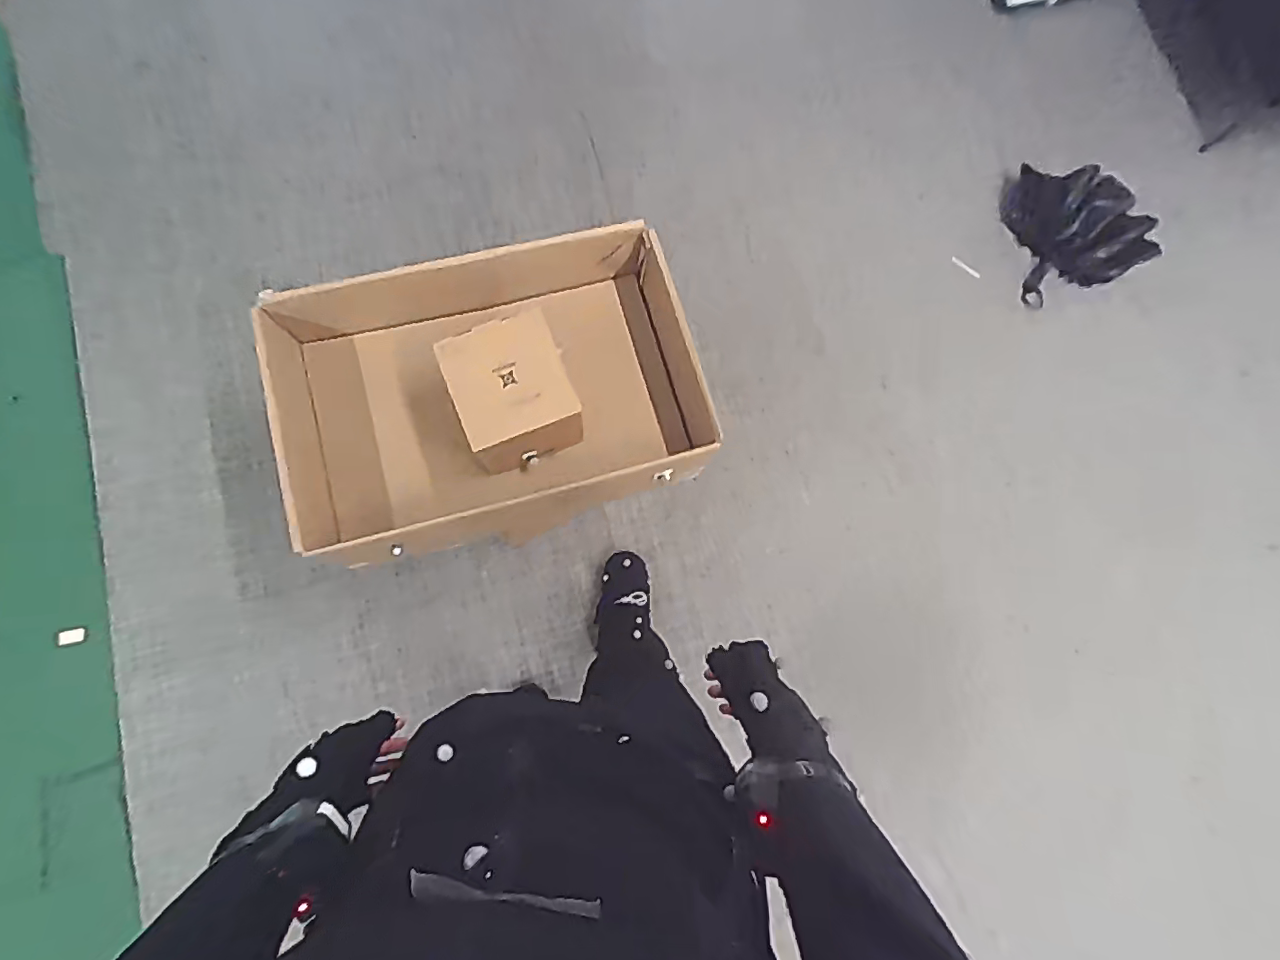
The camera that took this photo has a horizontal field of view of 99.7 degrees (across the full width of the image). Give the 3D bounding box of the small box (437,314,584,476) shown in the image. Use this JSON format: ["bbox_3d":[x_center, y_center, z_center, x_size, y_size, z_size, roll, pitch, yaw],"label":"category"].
[{"bbox_3d":[-0.196,-0.126,0.856,0.168,0.176,0.179,-22,82,-8],"label":"small box"}]
